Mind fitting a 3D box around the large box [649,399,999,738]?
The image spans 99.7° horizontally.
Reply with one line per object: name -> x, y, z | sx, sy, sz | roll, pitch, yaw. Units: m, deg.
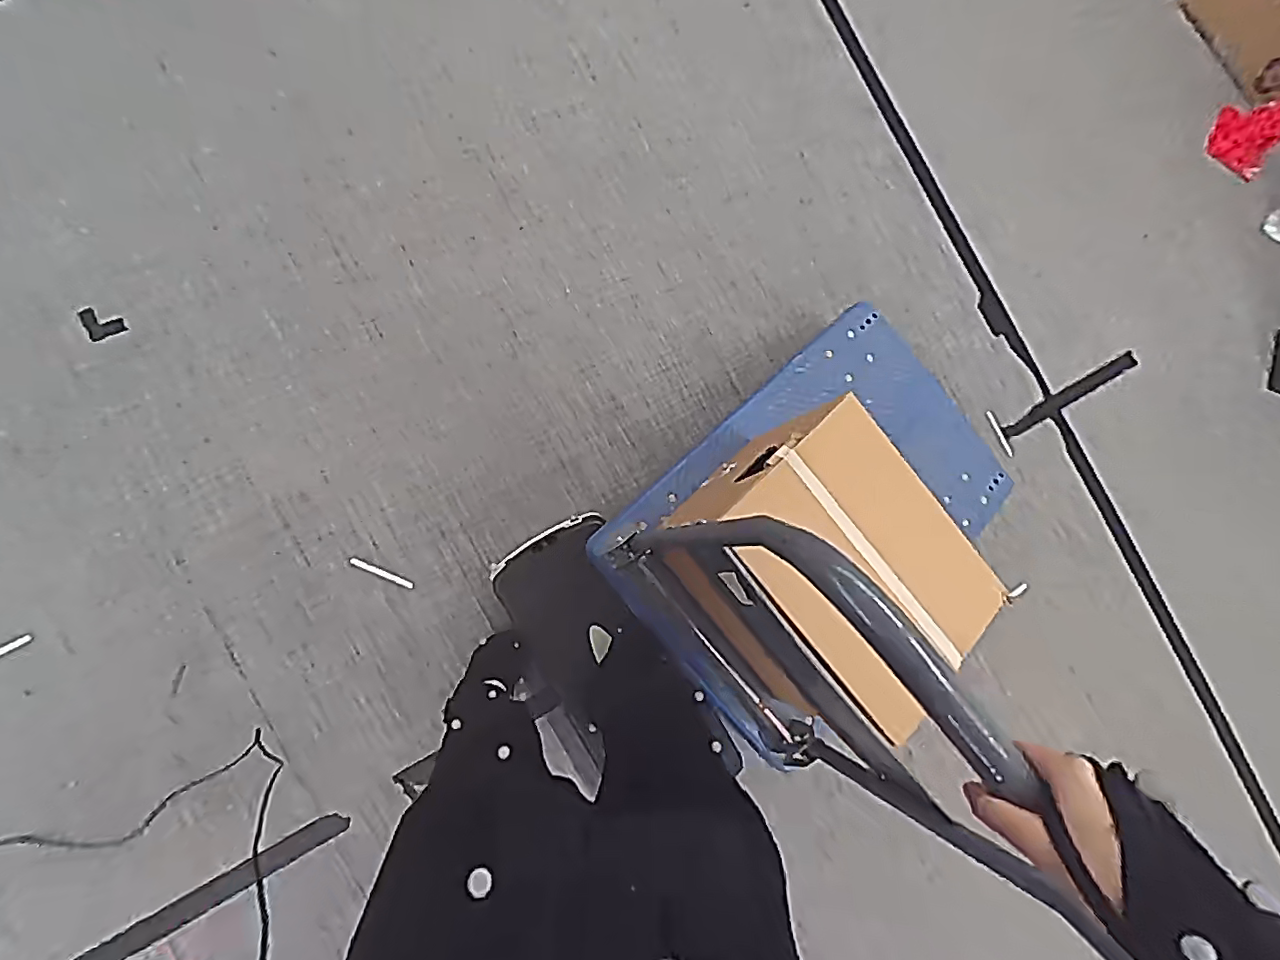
large box -> 0.287, 0.141, 0.924 | 0.320, 0.320, 0.408 | -41, 94, -19
